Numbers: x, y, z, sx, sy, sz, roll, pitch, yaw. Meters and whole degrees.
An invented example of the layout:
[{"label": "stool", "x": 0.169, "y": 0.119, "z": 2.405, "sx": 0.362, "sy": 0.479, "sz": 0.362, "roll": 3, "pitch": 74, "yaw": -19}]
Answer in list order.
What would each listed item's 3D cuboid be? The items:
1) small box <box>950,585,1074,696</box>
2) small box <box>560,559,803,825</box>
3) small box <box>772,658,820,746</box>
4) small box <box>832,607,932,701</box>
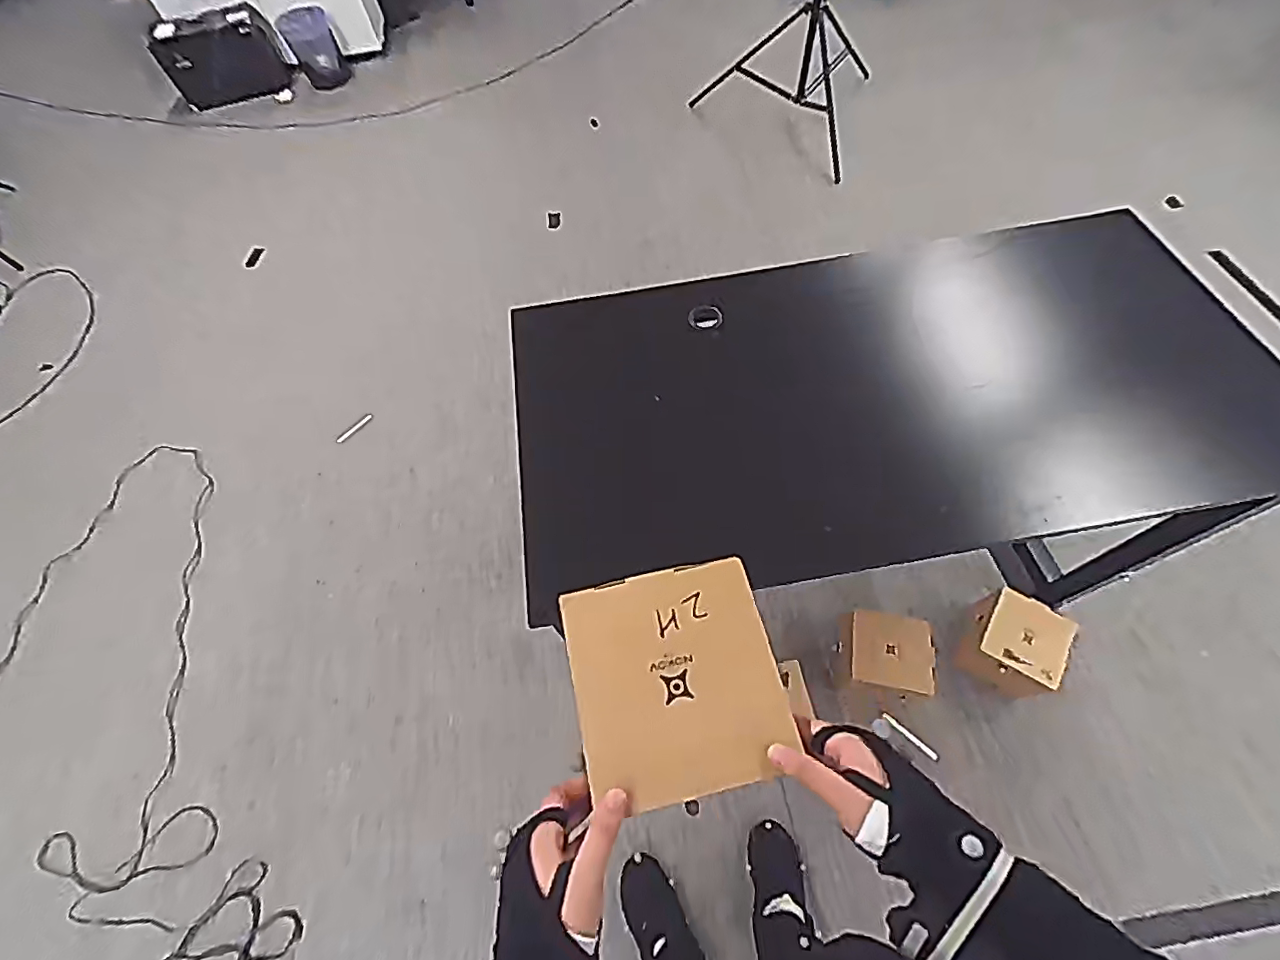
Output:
[{"label": "small box", "x": 0.872, "y": 0.385, "z": 1.284, "sx": 0.168, "sy": 0.176, "sz": 0.179, "roll": 29, "pitch": 67, "yaw": 19}, {"label": "small box", "x": 0.029, "y": 0.198, "z": 0.508, "sx": 0.168, "sy": 0.176, "sz": 0.179, "roll": -12, "pitch": 62, "yaw": -6}, {"label": "small box", "x": 0.292, "y": 0.528, "z": 1.251, "sx": 0.168, "sy": 0.176, "sz": 0.179, "roll": -11, "pitch": 62, "yaw": -1}, {"label": "small box", "x": 0.571, "y": 0.420, "z": 1.291, "sx": 0.179, "sy": 0.176, "sz": 0.168, "roll": 8, "pitch": 61, "yaw": 10}]
